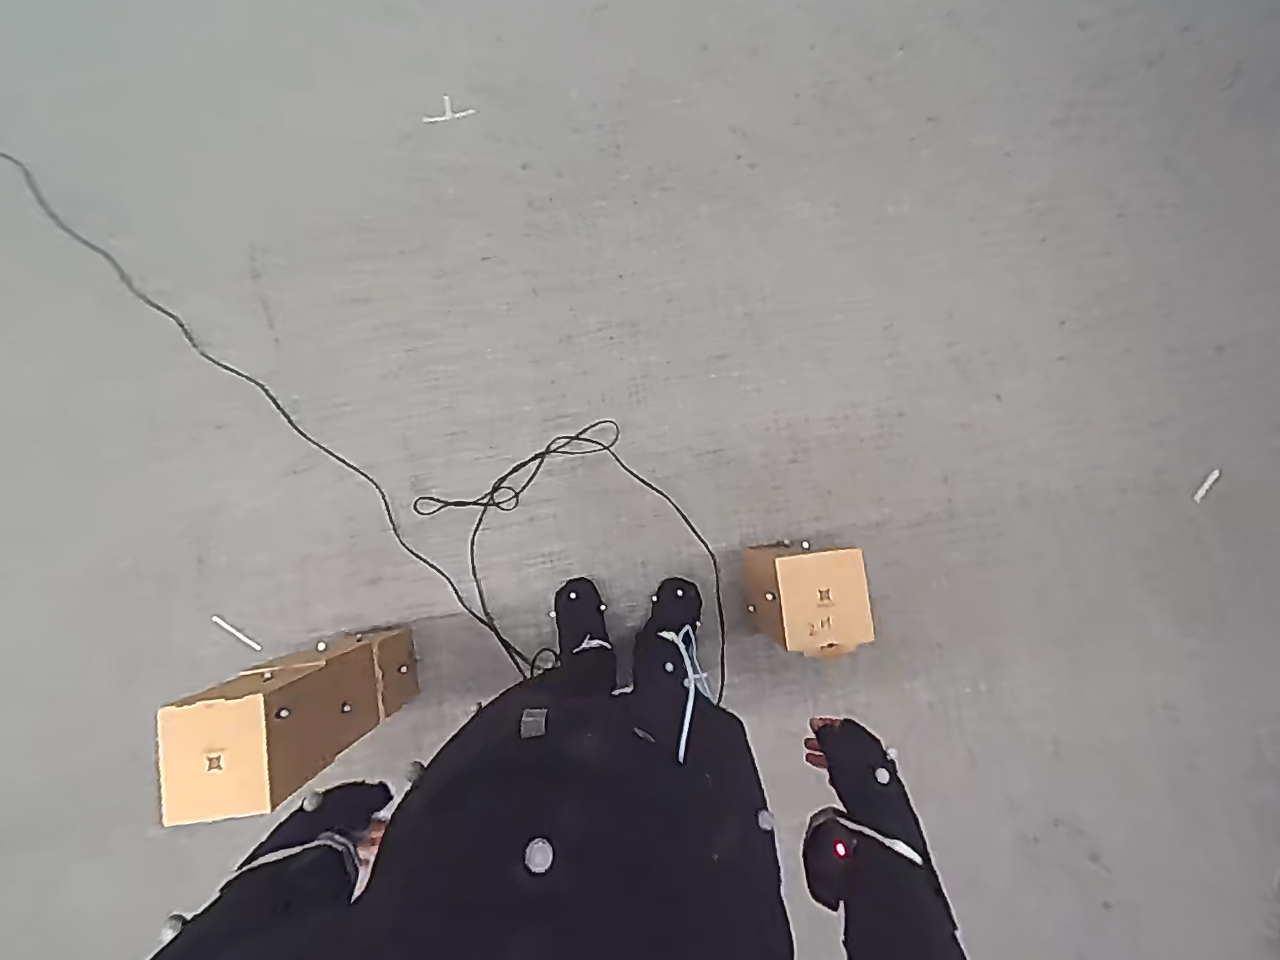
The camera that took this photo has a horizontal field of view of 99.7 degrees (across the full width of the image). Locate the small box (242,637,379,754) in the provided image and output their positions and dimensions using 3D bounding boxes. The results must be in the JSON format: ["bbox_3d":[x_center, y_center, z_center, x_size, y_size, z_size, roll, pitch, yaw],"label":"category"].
[{"bbox_3d":[-0.633,0.422,1.058,0.168,0.176,0.179,-8,85,0],"label":"small box"}]

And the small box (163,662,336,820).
[{"bbox_3d":[-0.632,0.420,0.895,0.168,0.176,0.179,-8,85,0],"label":"small box"}]

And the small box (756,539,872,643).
[{"bbox_3d":[0.338,0.213,1.081,0.168,0.176,0.179,-7,87,-1],"label":"small box"}]

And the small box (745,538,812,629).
[{"bbox_3d":[0.340,0.227,1.228,0.168,0.176,0.179,-5,86,-1],"label":"small box"}]

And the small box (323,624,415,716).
[{"bbox_3d":[-0.625,0.433,1.222,0.179,0.176,0.168,-9,86,-1],"label":"small box"}]
